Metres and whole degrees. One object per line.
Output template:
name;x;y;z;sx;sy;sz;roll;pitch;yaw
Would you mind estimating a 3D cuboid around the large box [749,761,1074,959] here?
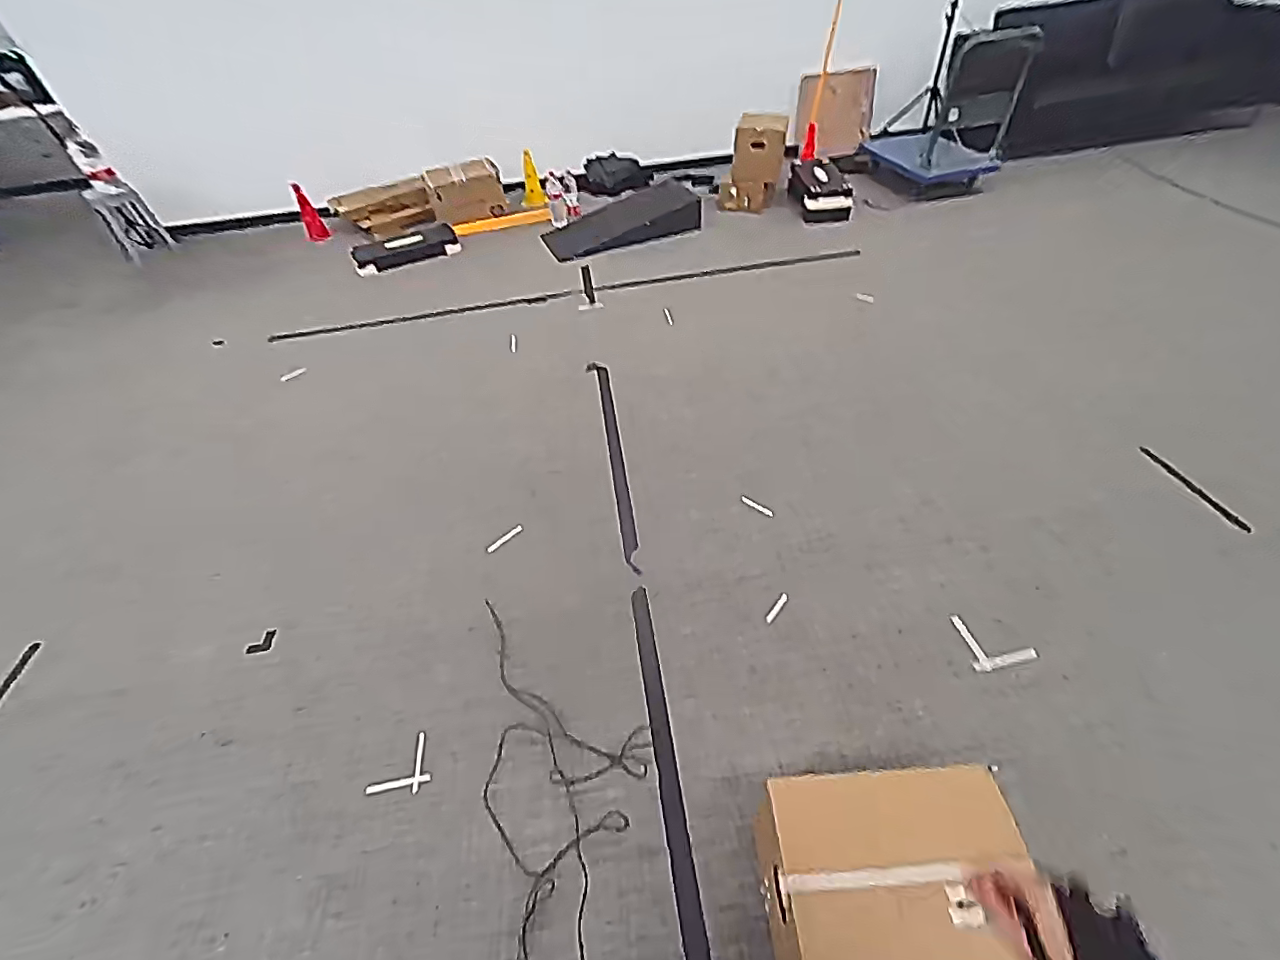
large box;0.438;0.742;0.982;0.408;0.320;0.320;-4;45;0
